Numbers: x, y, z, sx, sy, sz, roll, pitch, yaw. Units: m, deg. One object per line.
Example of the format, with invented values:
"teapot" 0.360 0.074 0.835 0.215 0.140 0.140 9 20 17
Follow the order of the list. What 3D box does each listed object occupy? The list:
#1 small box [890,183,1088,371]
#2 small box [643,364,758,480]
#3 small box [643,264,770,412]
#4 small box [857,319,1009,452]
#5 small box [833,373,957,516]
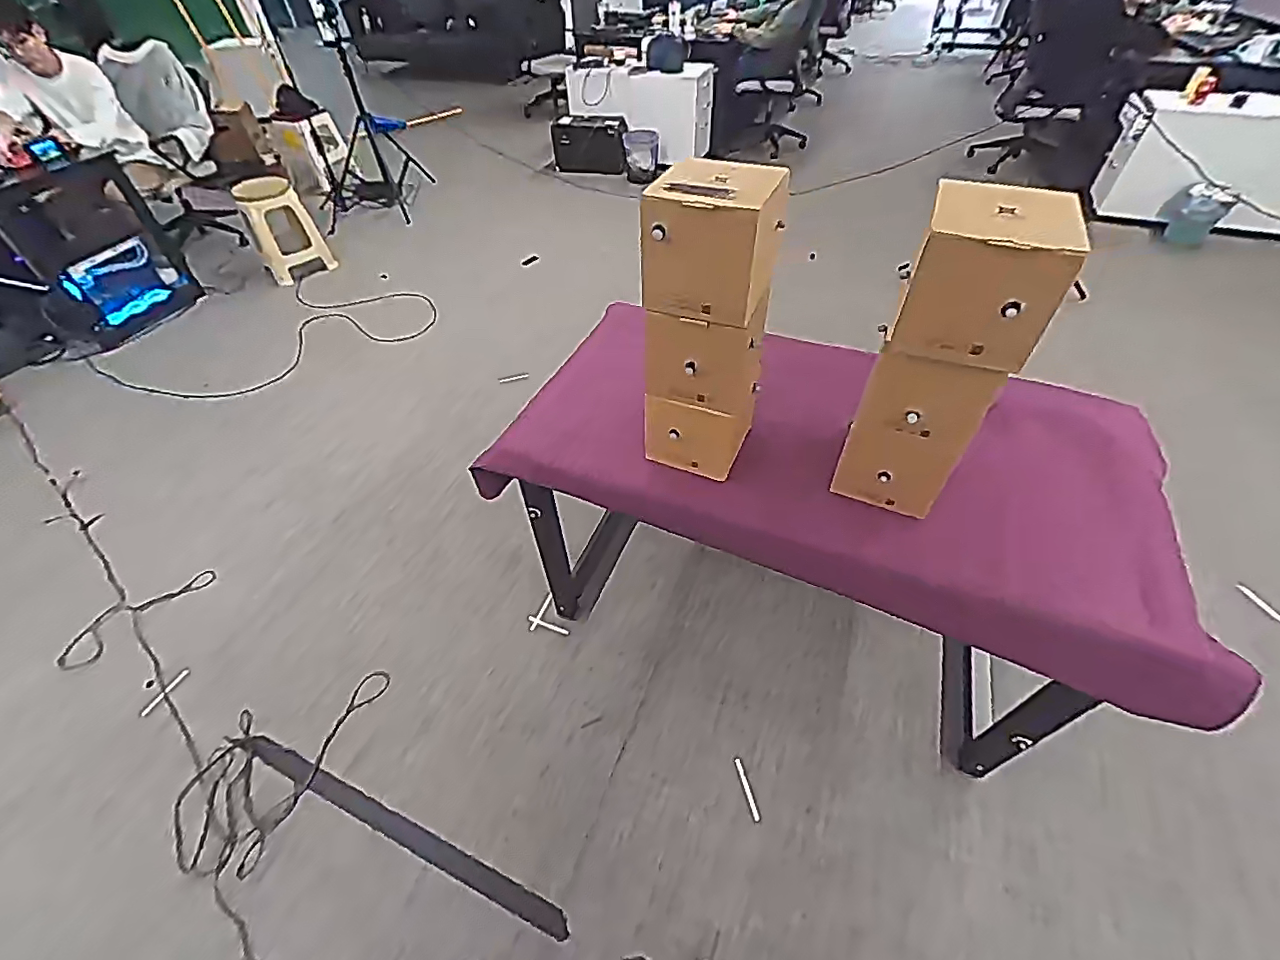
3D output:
"small box" 0.448 -0.270 0.721 0.168 0.176 0.179 17 50 15
"small box" 0.118 -0.127 1.047 0.168 0.176 0.179 18 50 17
"small box" 0.115 -0.243 0.931 0.168 0.176 0.179 16 50 15
"small box" 0.460 -0.176 0.855 0.168 0.176 0.179 19 52 18
"small box" 0.460 -0.064 0.975 0.168 0.176 0.179 19 51 18
